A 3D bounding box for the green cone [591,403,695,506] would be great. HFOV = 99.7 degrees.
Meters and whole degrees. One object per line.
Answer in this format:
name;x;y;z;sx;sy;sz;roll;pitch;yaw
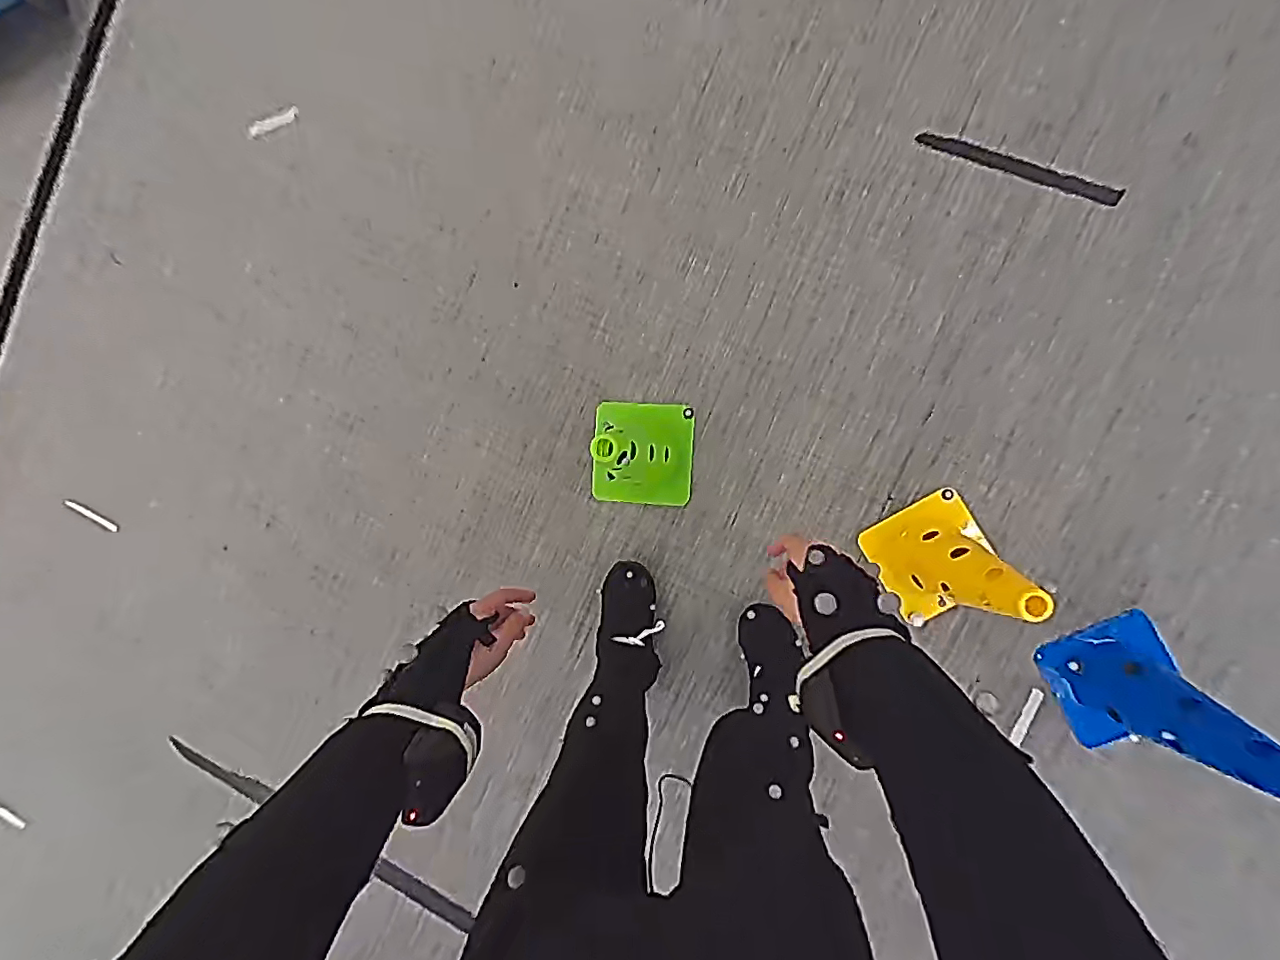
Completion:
green cone;-0.022;-0.044;0.911;0.200;0.368;0.202;3;93;10
